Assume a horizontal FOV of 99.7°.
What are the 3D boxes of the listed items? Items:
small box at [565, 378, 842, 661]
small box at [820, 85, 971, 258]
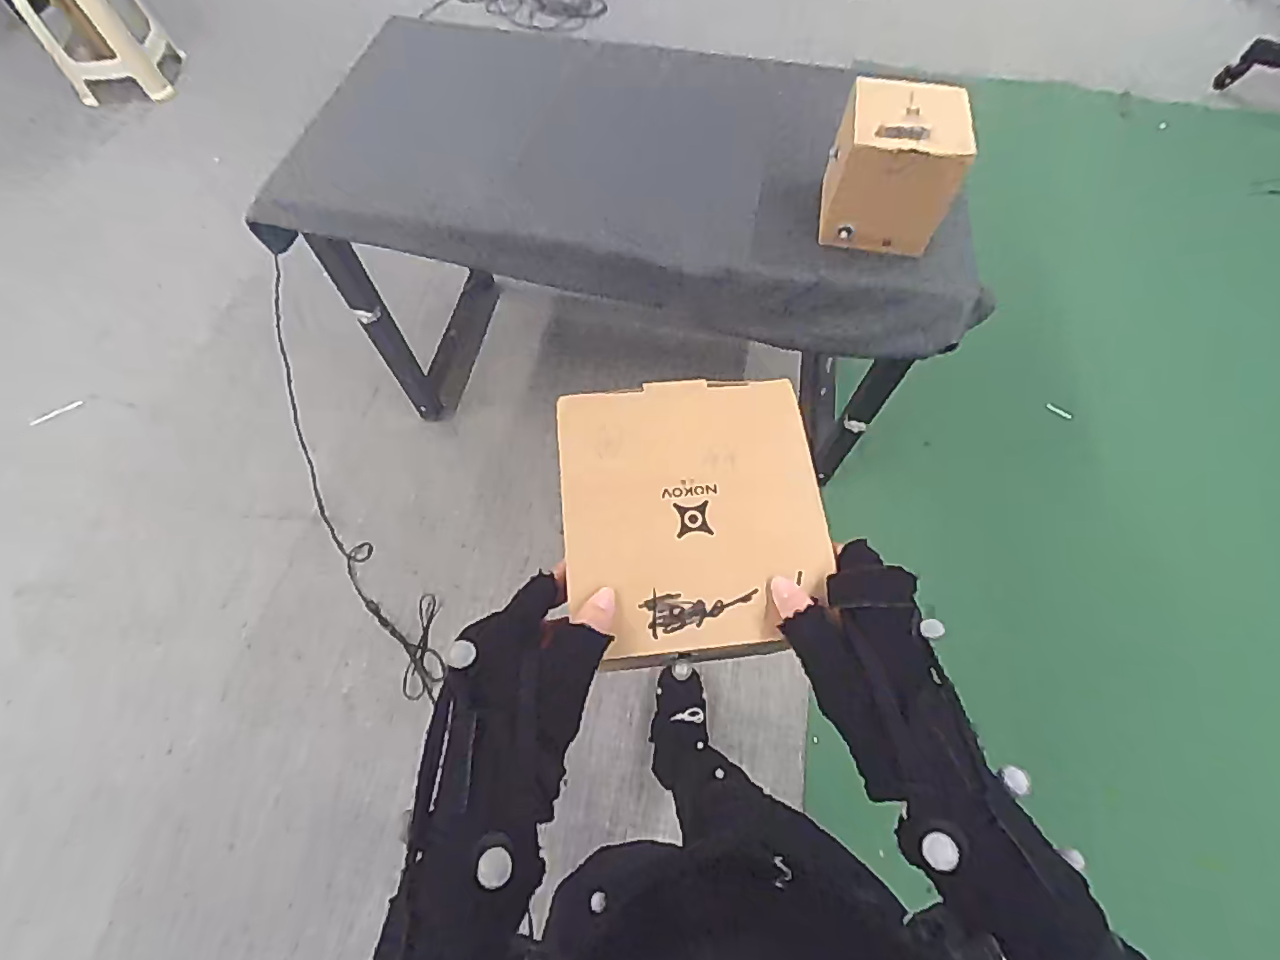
[{"bbox_3d":[0.031,0.041,0.426,0.168,0.176,0.179,-5,69,-3],"label":"small box"},{"bbox_3d":[0.392,-0.481,0.855,0.168,0.176,0.179,10,62,6],"label":"small box"}]
